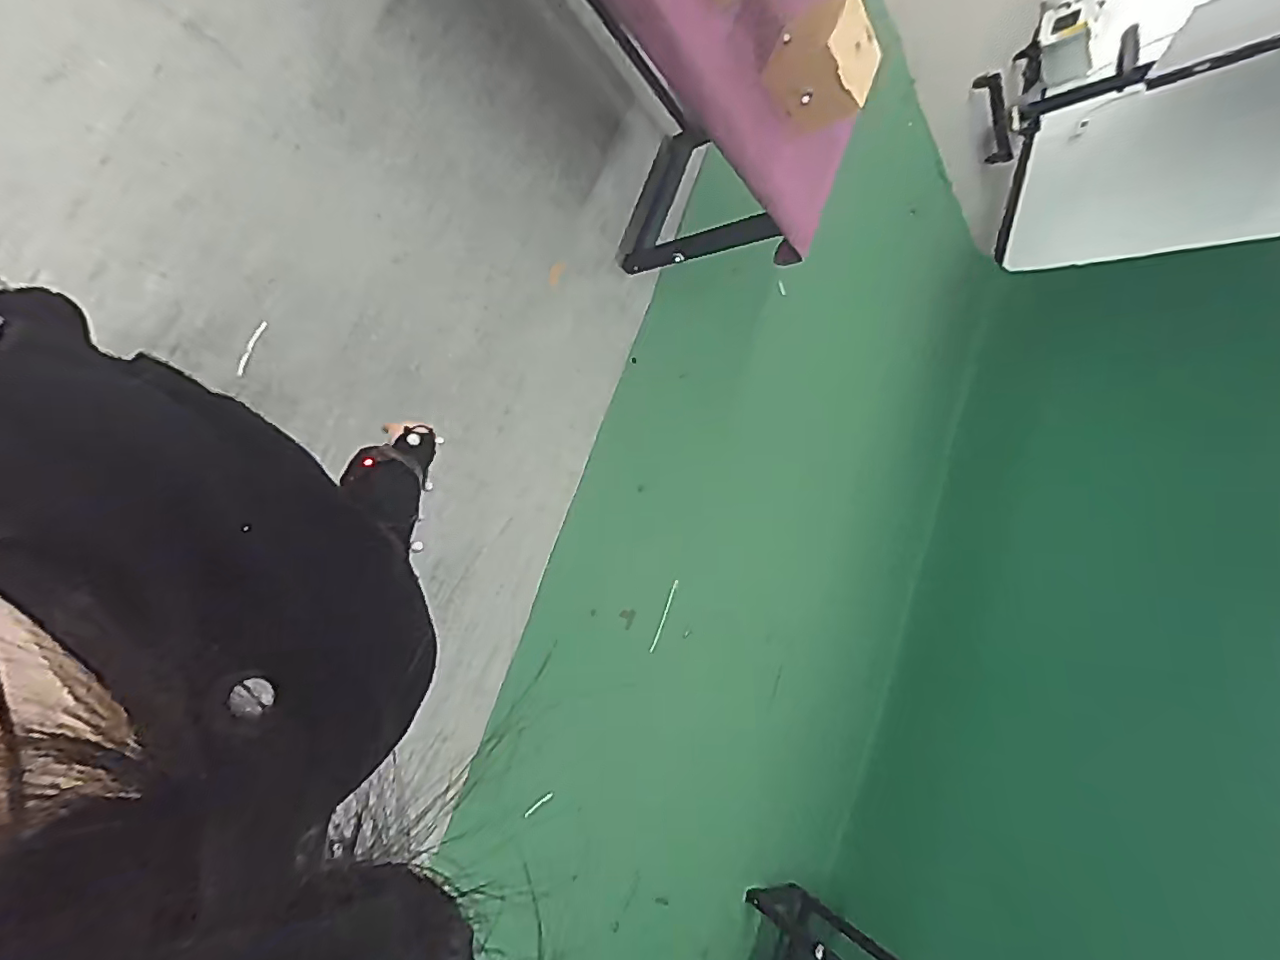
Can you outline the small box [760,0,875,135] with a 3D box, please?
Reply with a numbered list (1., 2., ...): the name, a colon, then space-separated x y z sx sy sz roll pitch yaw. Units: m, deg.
1. small box: 0.395 -0.926 1.218 0.168 0.176 0.179 35 73 -40
